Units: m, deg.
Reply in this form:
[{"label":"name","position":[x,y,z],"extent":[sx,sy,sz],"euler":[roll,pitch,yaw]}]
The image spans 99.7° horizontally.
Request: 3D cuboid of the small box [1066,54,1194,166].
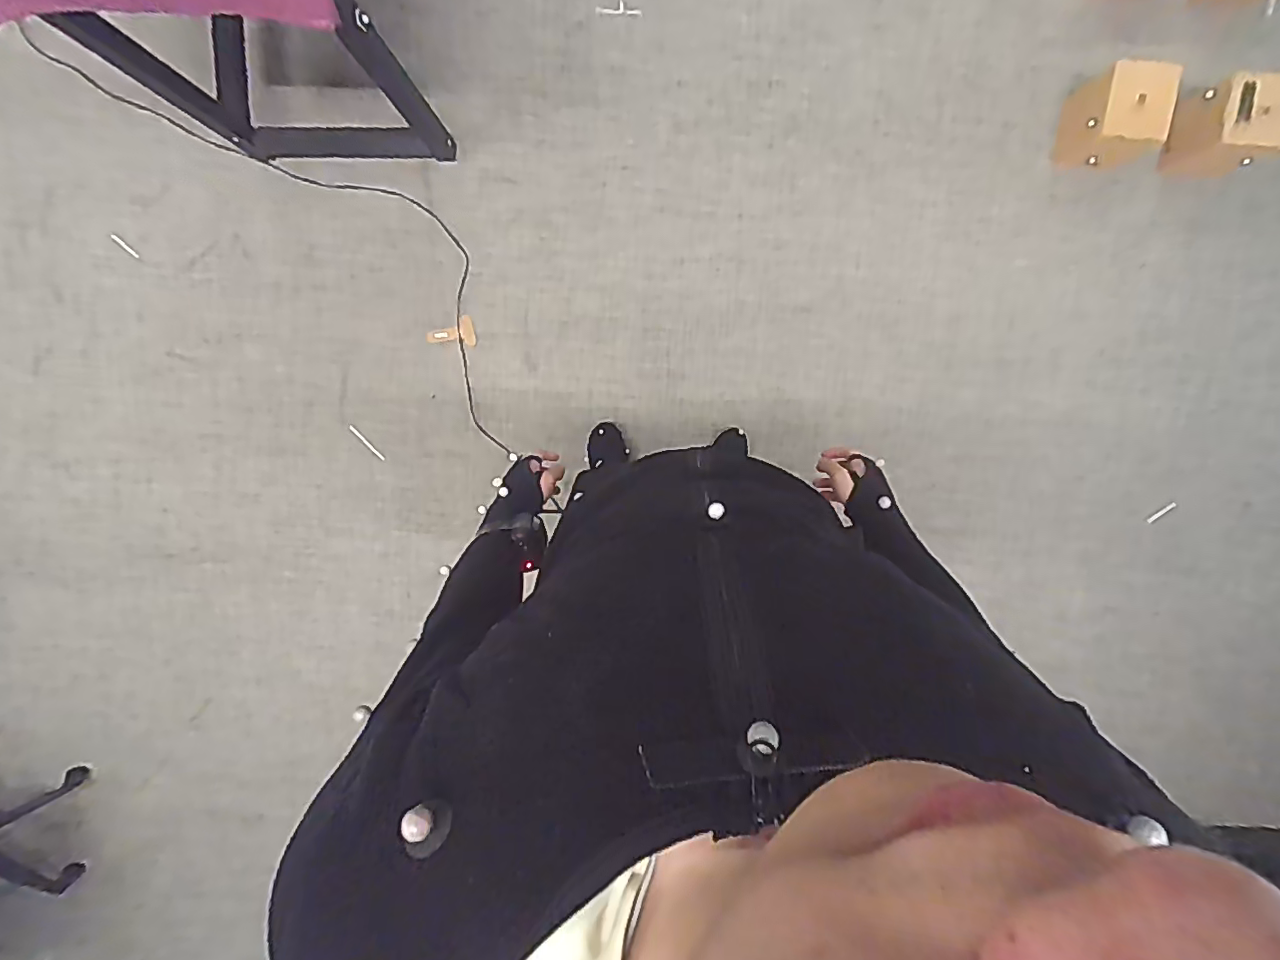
[{"label":"small box","position":[1.249,-0.945,1.393],"extent":[0.168,0.176,0.179],"euler":[5,98,1]}]
